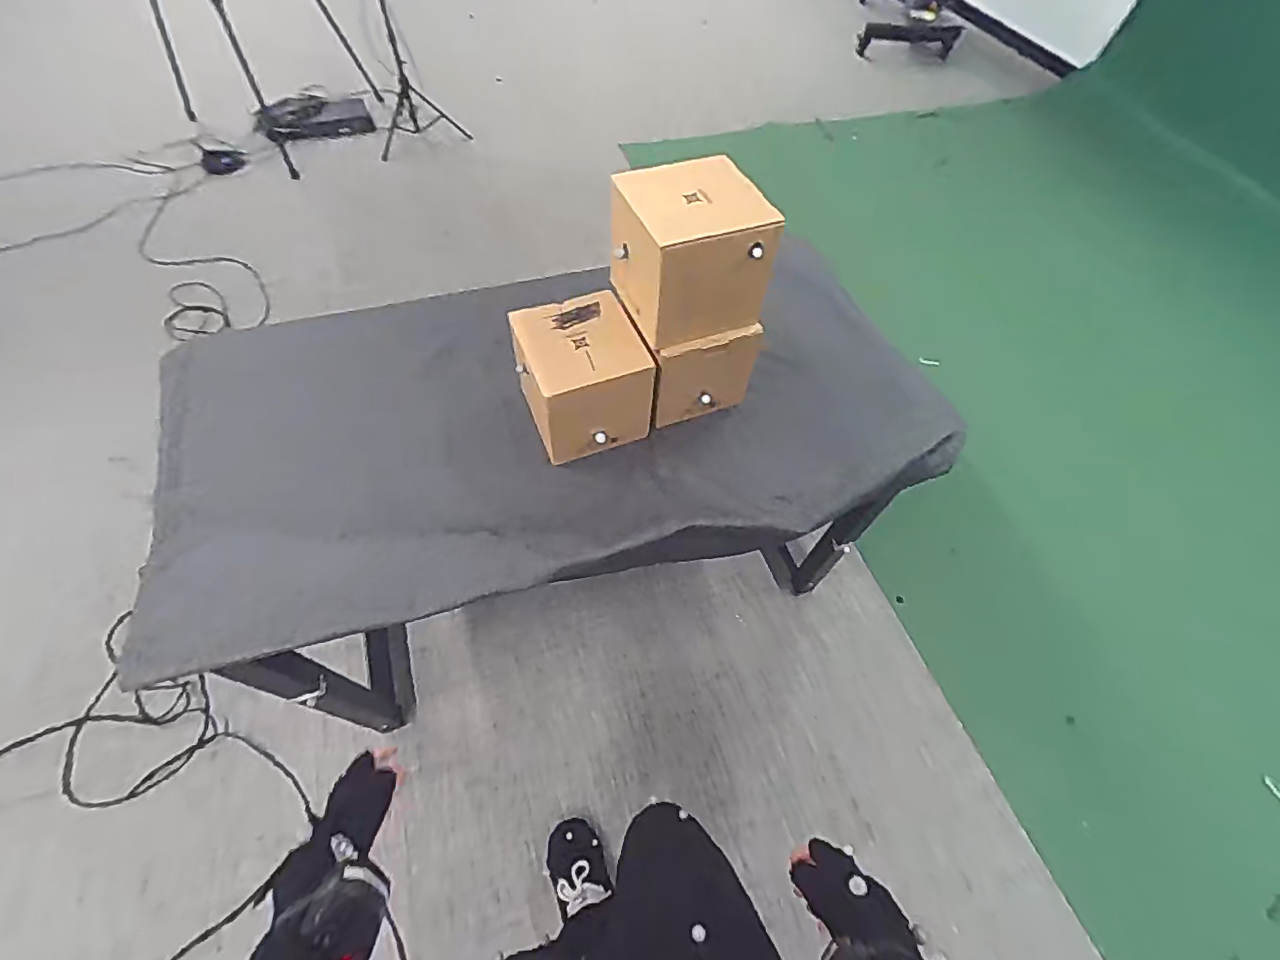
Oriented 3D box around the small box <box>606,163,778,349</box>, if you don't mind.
[{"bbox_3d":[0.062,-0.309,0.761,0.179,0.176,0.168,-19,60,-15],"label":"small box"}]
